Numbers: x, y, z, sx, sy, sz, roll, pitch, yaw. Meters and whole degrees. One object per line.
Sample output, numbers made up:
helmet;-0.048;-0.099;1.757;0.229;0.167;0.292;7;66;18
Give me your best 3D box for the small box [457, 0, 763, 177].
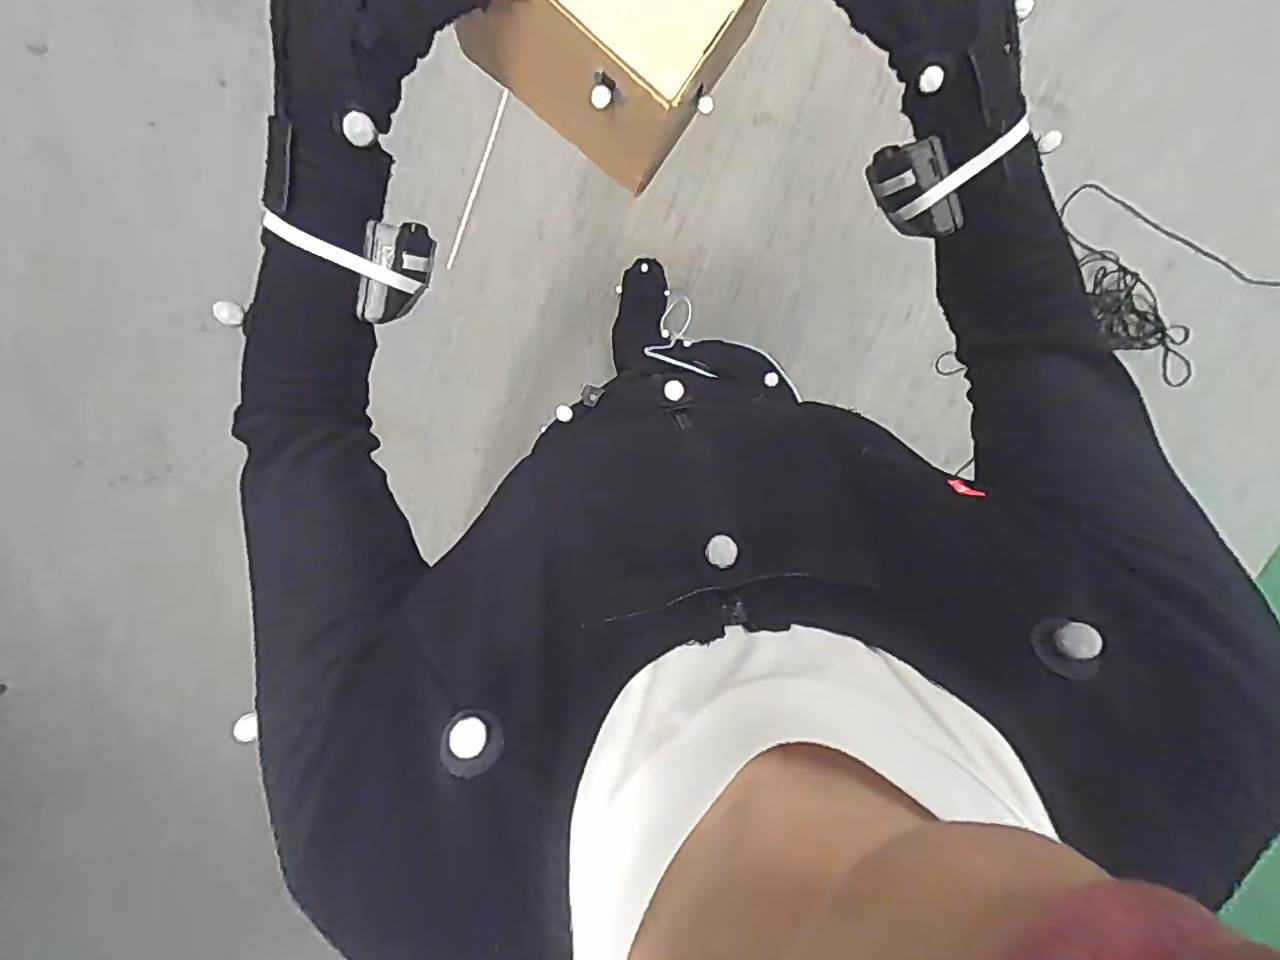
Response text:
small box;-0.015;-0.346;0.364;0.179;0.176;0.168;35;95;-14
